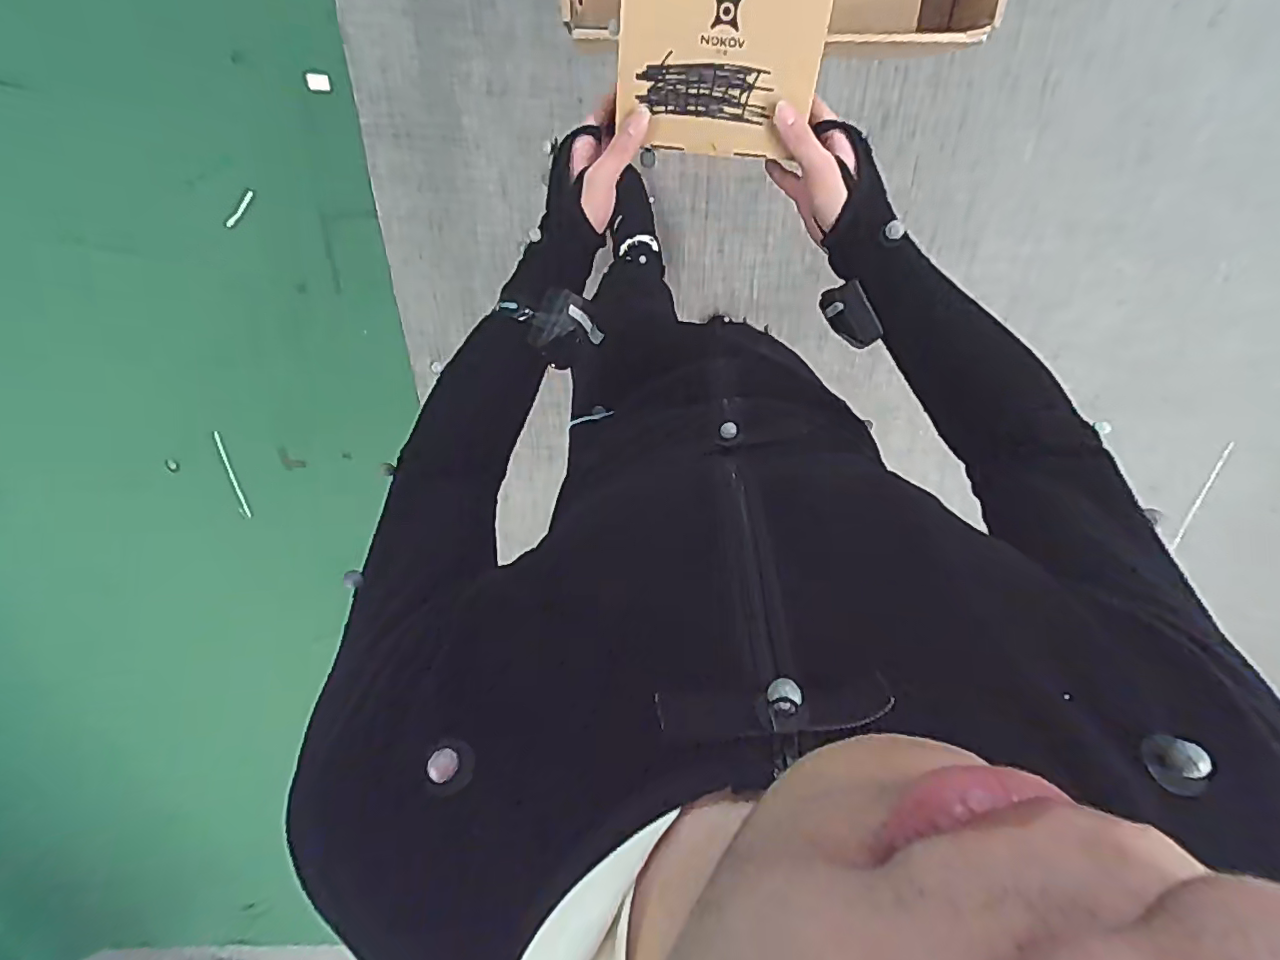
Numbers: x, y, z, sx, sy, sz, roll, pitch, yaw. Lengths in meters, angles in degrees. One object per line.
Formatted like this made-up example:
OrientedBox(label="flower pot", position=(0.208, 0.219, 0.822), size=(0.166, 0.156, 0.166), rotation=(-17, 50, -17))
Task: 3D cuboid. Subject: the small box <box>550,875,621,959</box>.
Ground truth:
OrientedBox(label="small box", position=(-0.146, 1.230, 1.500), size=(0.179, 0.176, 0.168), rotation=(-2, 120, 0))
